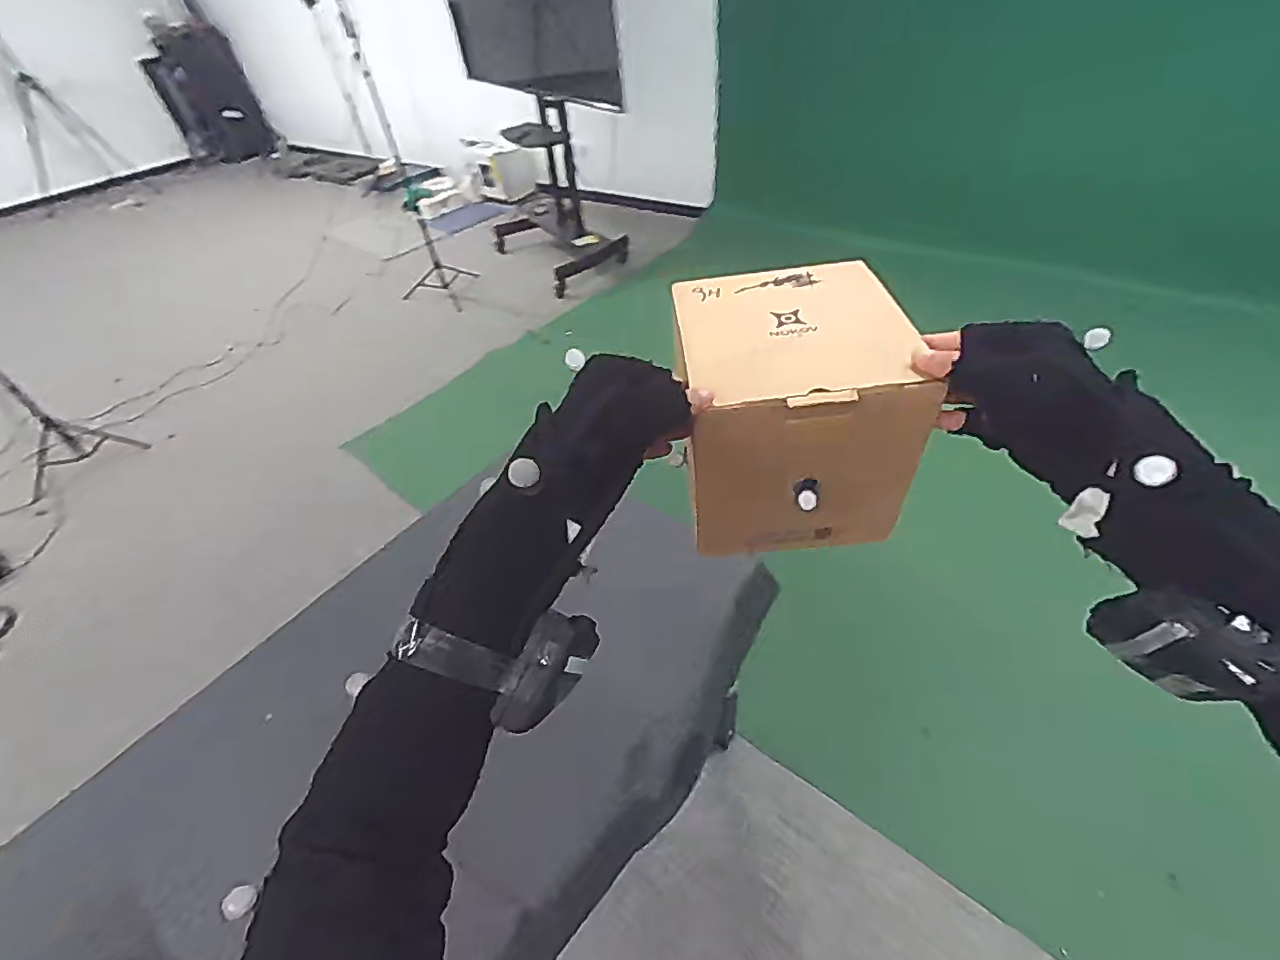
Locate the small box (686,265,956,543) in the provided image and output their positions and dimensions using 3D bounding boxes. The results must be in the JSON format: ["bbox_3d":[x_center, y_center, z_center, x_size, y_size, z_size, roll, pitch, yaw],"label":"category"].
[{"bbox_3d":[0.131,-0.058,0.466,0.168,0.176,0.179,-5,47,3],"label":"small box"}]
